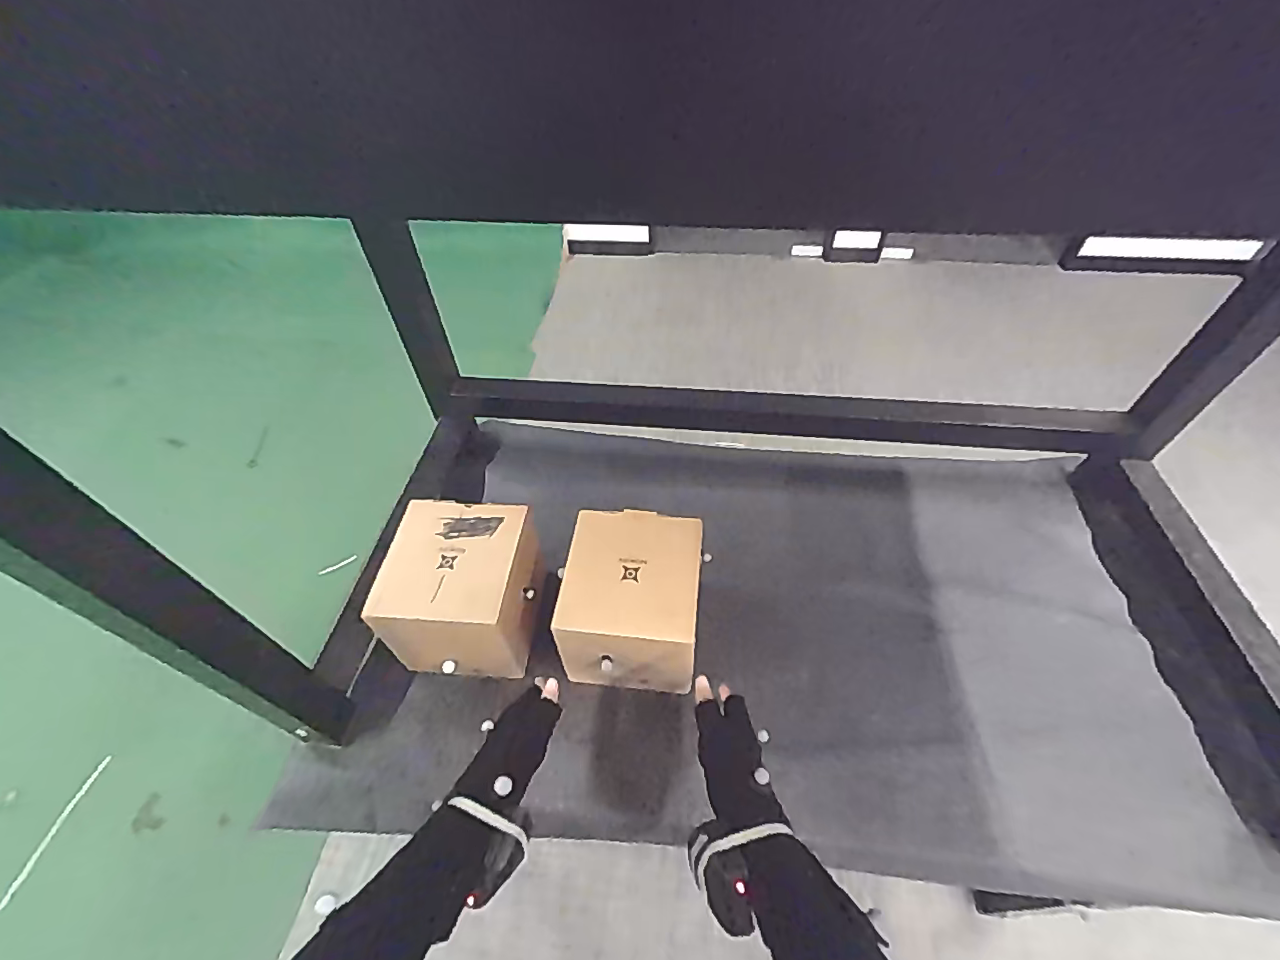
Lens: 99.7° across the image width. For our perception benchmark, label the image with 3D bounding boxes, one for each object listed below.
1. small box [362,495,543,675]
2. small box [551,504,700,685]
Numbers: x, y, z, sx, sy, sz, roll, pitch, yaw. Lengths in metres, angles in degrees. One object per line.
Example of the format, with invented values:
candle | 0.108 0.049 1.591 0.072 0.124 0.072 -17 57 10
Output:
small box | -0.236 0.143 0.738 0.168 0.176 0.179 3 49 5
small box | -0.009 0.156 0.722 0.168 0.176 0.179 4 48 6
